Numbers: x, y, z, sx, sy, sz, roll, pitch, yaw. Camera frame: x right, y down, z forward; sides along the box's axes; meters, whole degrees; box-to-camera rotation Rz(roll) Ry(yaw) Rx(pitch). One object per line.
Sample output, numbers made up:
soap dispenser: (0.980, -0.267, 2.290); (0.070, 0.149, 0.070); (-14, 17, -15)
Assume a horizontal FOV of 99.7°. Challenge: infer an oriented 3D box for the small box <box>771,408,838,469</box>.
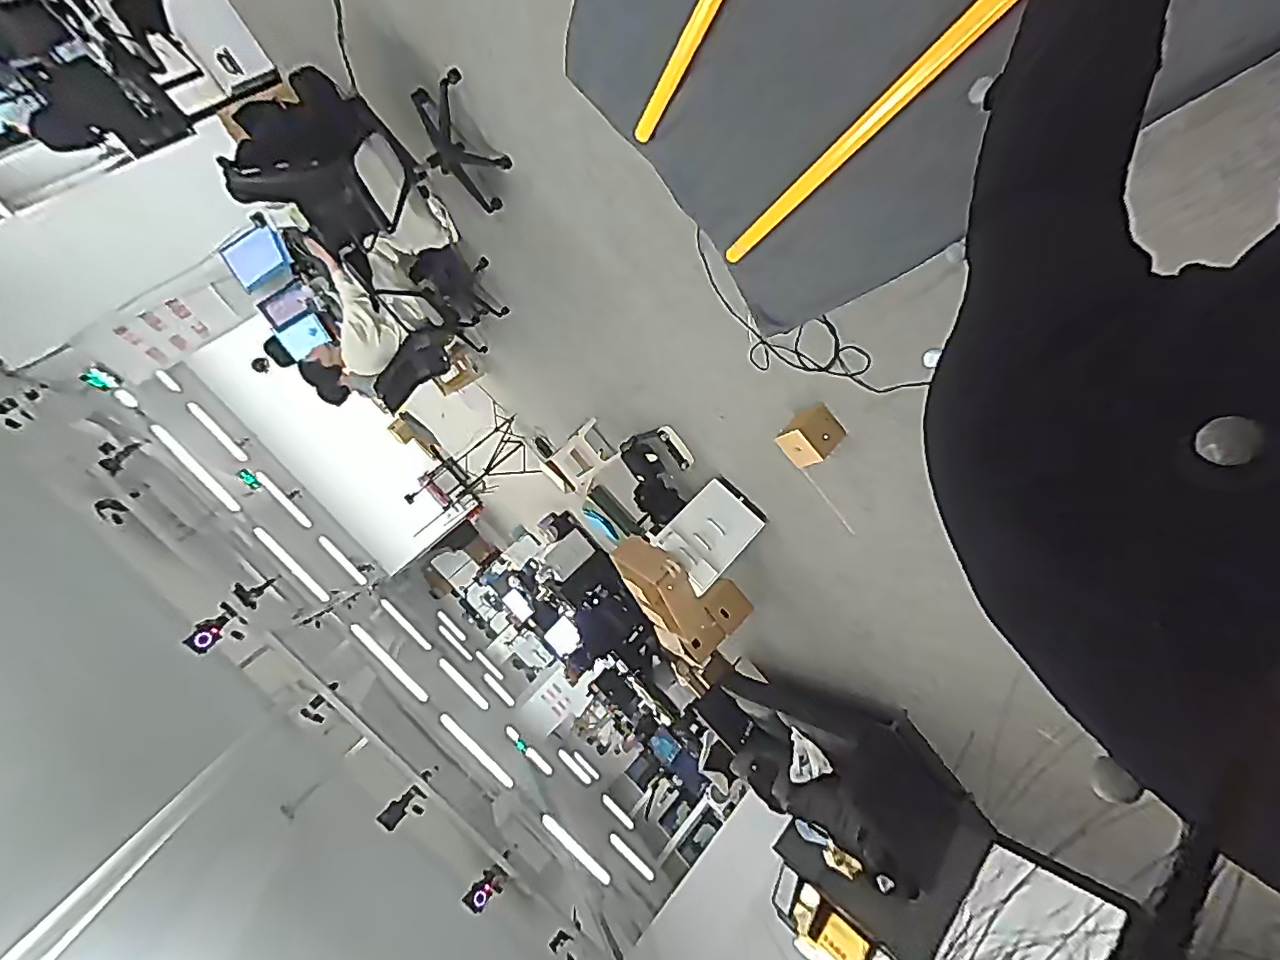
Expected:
small box: (0.681, -0.172, 2.213); (0.168, 0.176, 0.179); (48, 160, -6)
